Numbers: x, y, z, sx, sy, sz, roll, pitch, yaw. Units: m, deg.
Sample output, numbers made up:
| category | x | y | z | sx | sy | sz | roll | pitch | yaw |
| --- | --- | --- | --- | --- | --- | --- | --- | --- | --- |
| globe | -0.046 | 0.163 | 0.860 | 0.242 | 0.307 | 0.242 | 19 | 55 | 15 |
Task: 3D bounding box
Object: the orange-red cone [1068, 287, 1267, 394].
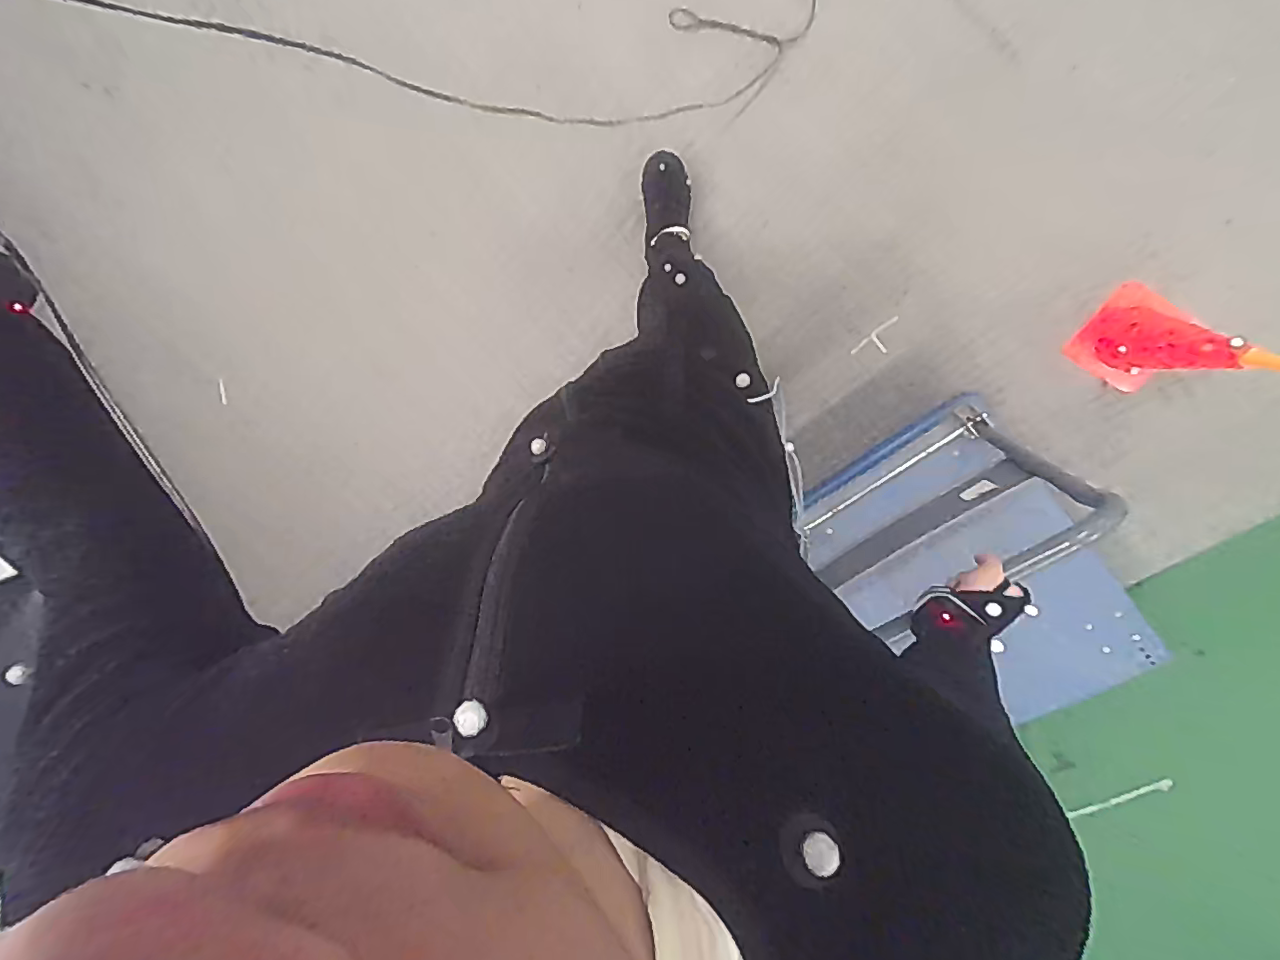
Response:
| category | x | y | z | sx | sy | sz | roll | pitch | yaw |
| --- | --- | --- | --- | --- | --- | --- | --- | --- | --- |
| orange-red cone | 1.123 | -0.270 | 1.118 | 0.198 | 0.360 | 0.199 | 34 | 112 | -2 |
